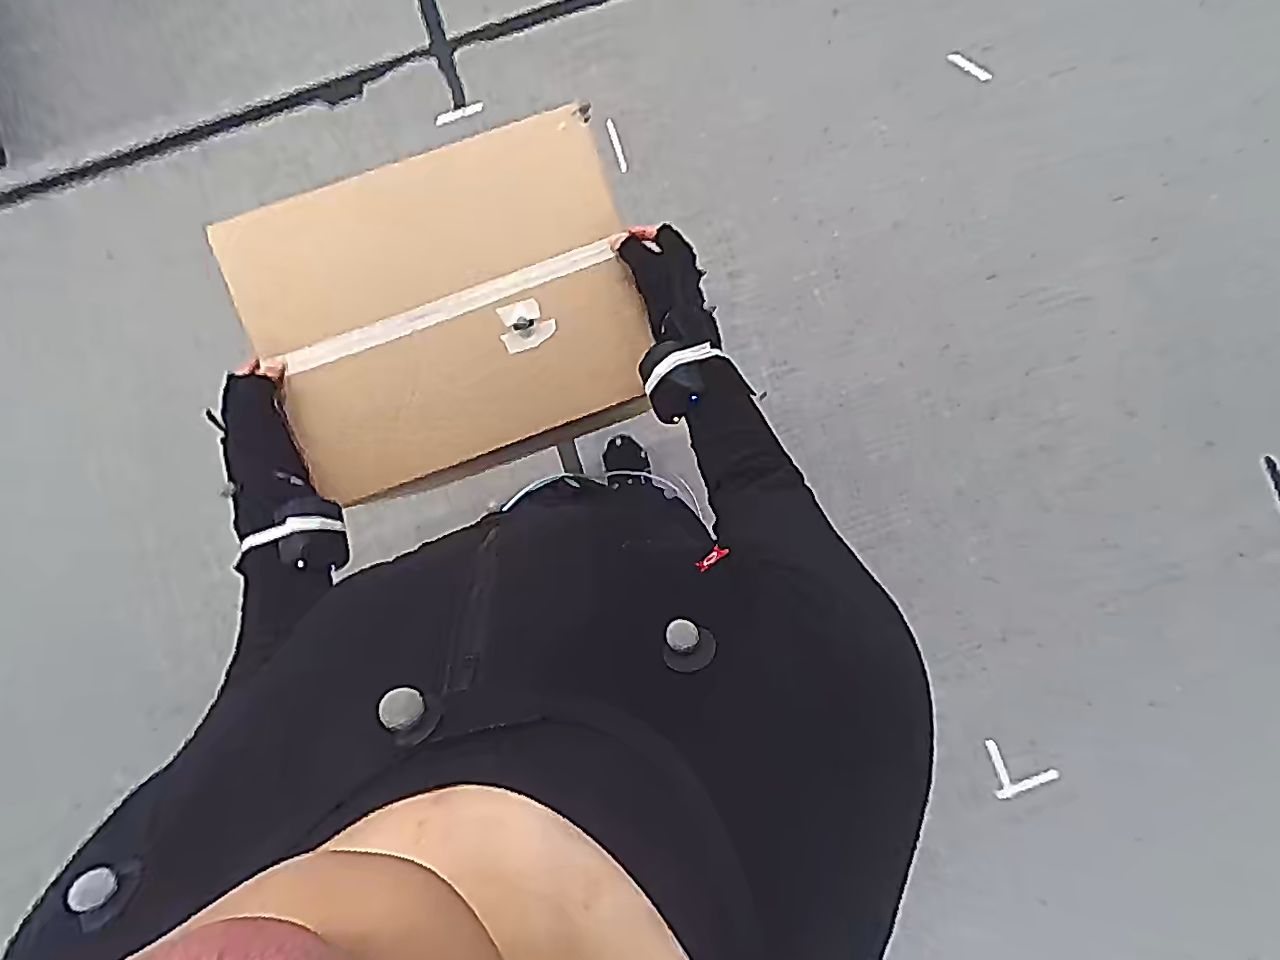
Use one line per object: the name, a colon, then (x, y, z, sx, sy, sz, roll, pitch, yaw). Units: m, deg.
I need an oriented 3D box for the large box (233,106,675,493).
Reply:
large box: (-0.206, -0.200, 0.734, 0.408, 0.320, 0.320, -20, 94, -3)
